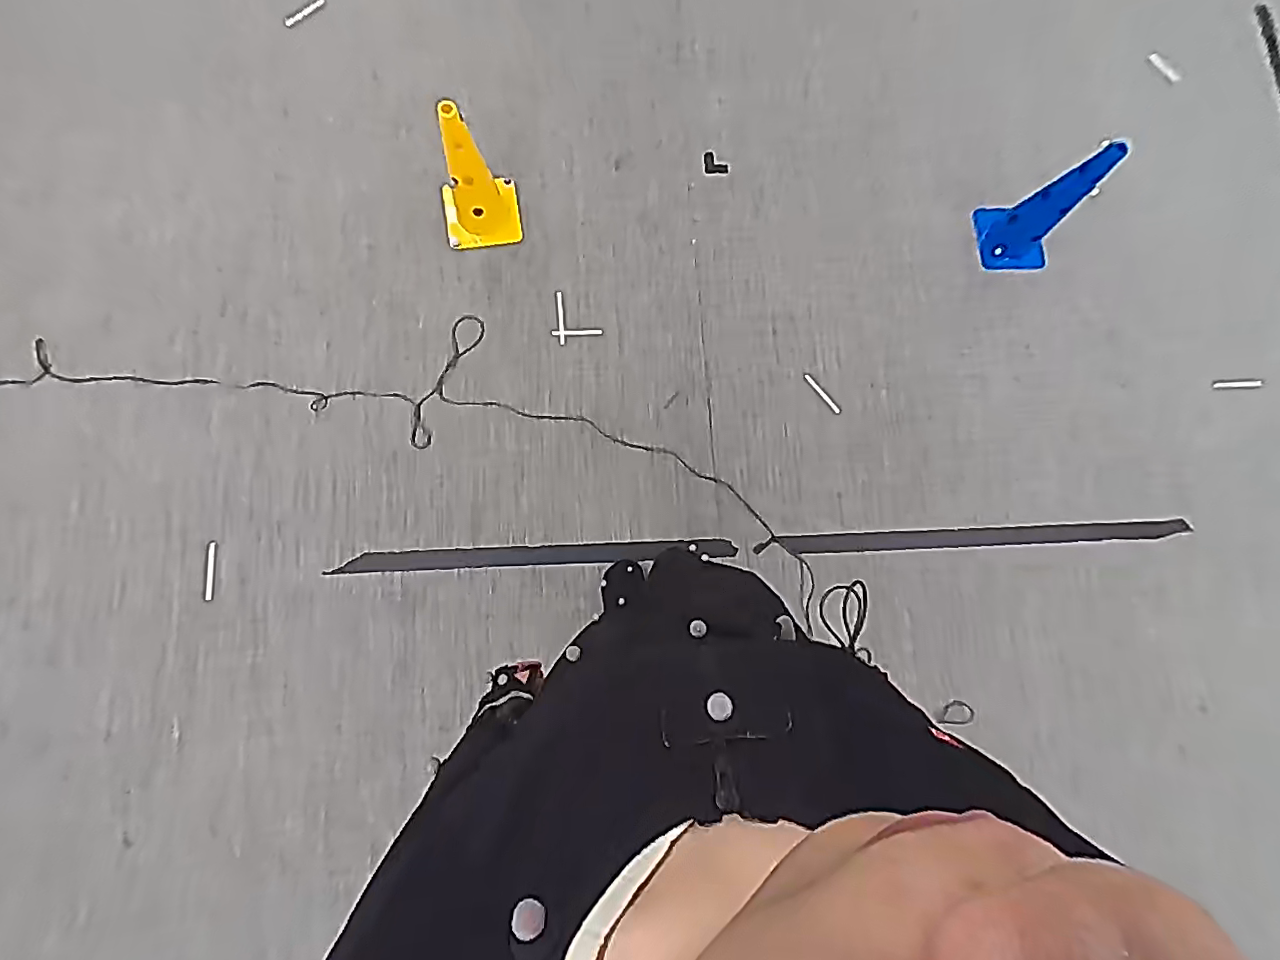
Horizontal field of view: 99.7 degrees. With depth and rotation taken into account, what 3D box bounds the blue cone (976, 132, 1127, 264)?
[{"bbox_3d":[1.109,-0.754,1.441,0.193,0.380,0.192,-2,80,-5],"label":"blue cone"}]
